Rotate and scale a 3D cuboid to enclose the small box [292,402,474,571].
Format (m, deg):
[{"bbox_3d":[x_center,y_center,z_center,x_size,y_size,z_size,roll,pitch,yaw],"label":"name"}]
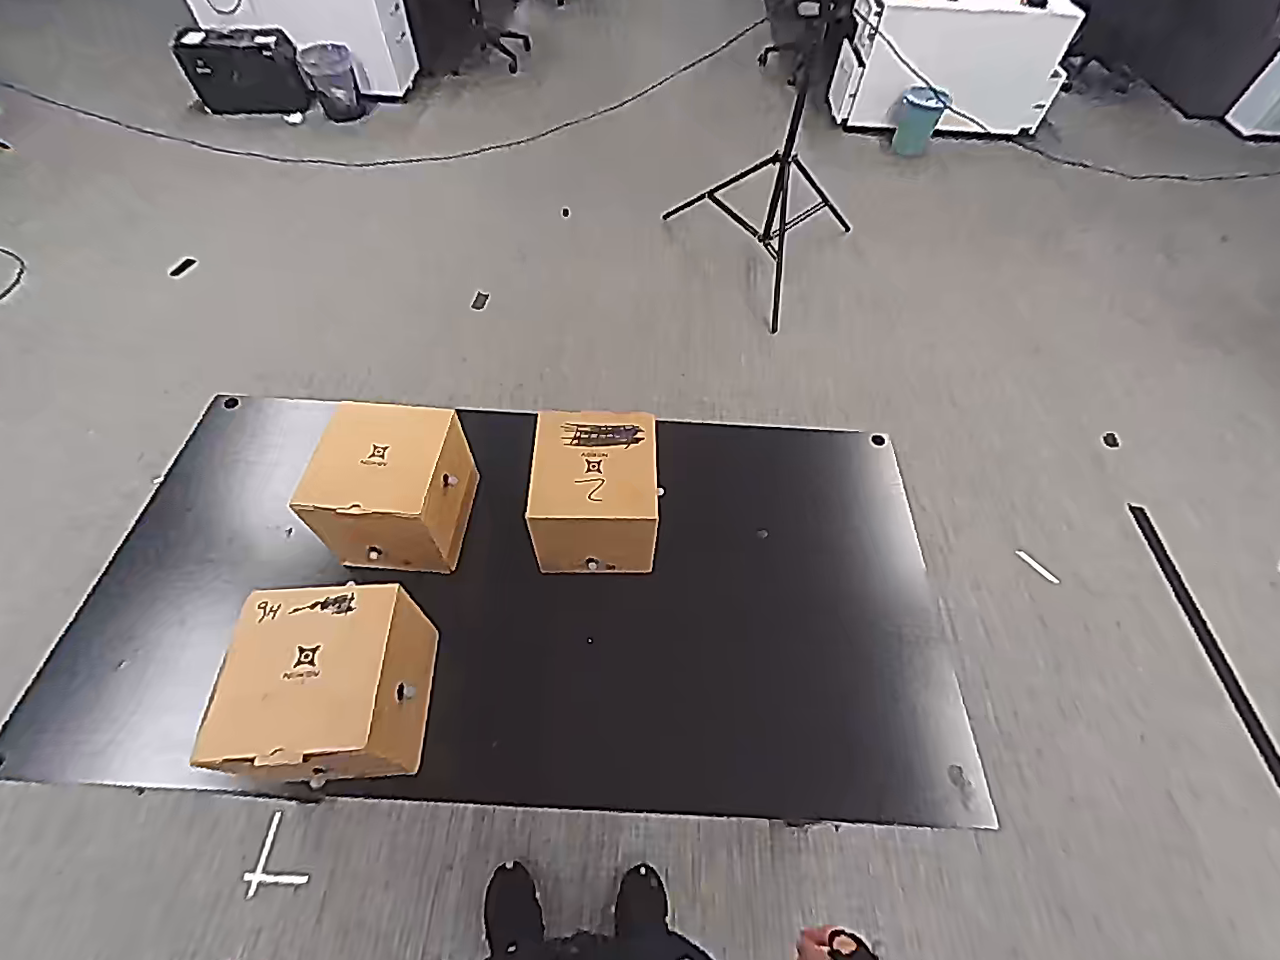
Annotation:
[{"bbox_3d":[-0.350,0.013,0.782,0.168,0.176,0.179,4,56,0],"label":"small box"}]

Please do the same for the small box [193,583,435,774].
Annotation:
[{"bbox_3d":[-0.351,0.236,0.628,0.168,0.176,0.179,-2,56,-4],"label":"small box"}]
